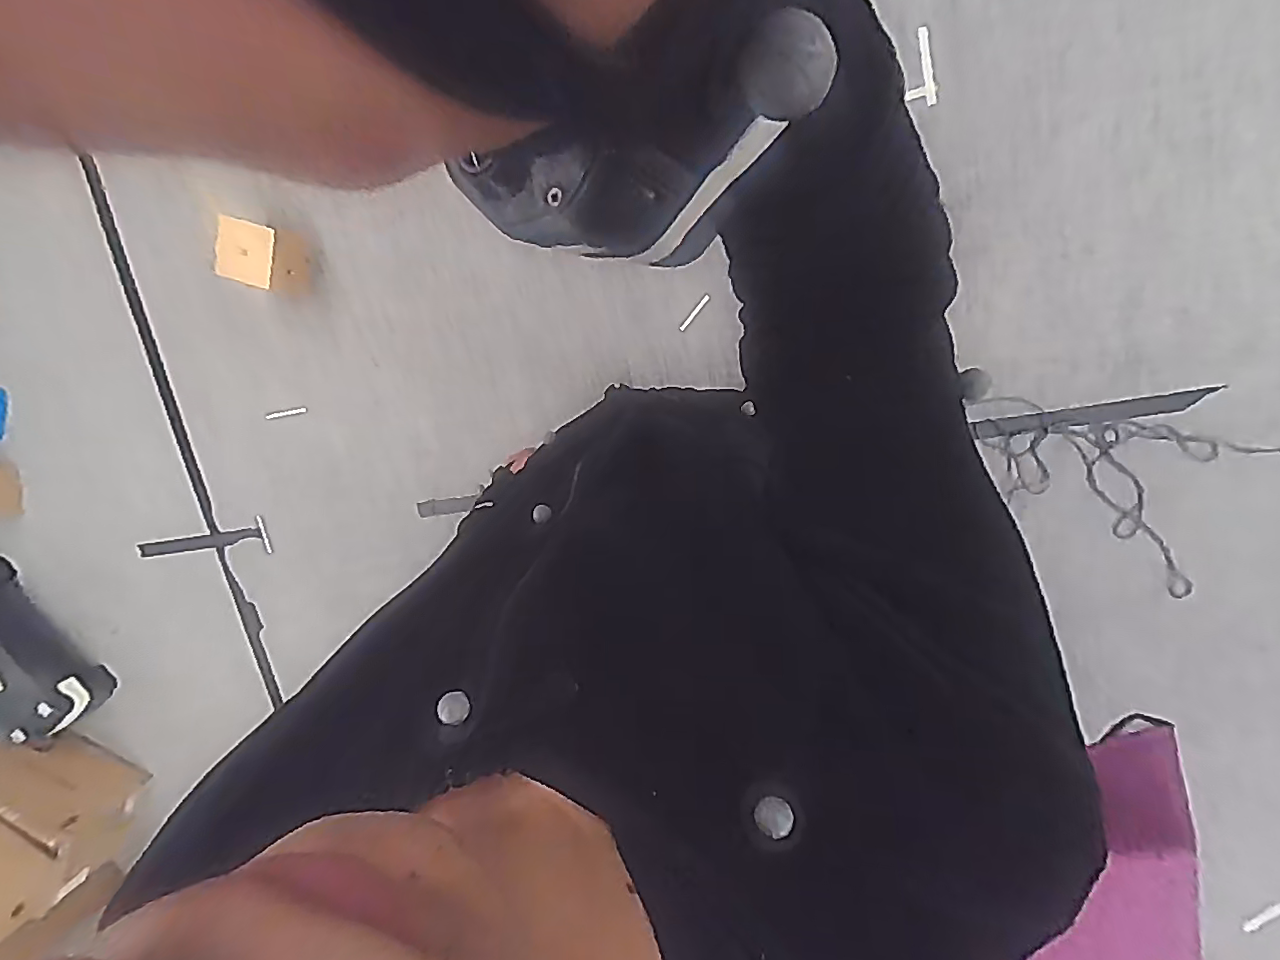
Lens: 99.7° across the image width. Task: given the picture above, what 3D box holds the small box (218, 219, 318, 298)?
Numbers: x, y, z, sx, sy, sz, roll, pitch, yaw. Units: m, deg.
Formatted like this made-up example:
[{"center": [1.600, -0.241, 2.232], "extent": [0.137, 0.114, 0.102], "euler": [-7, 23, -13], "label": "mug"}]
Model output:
[{"center": [-1.085, -0.640, 1.586], "extent": [0.179, 0.176, 0.168], "euler": [16, 103, 5], "label": "small box"}]
